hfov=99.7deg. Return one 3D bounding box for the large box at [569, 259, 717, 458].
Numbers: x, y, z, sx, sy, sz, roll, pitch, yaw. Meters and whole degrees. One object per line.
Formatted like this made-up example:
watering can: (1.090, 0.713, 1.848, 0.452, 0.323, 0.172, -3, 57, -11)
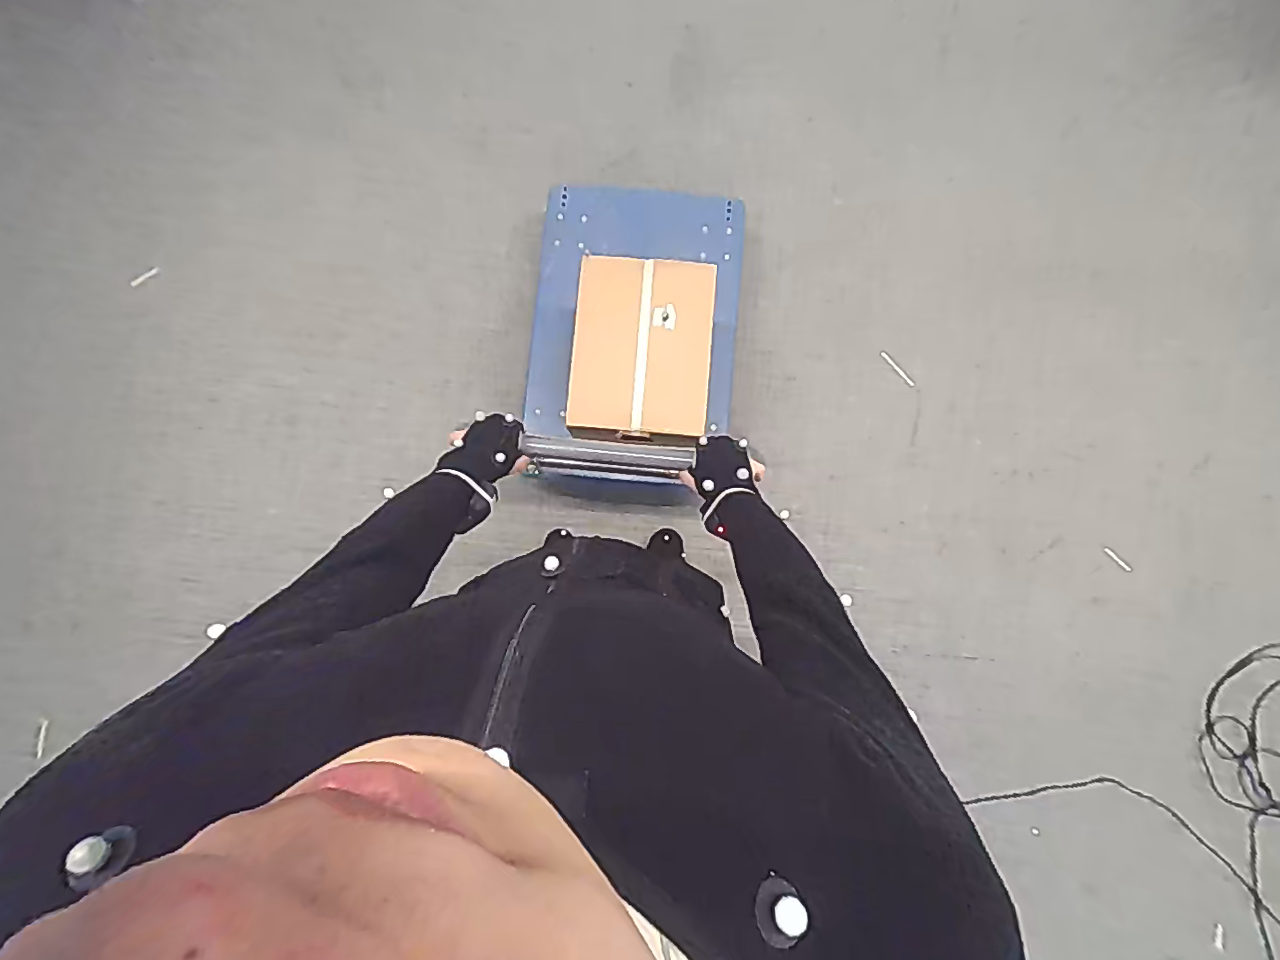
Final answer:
large box: (0.011, -0.279, 1.354, 0.320, 0.320, 0.408, 5, 83, 0)
